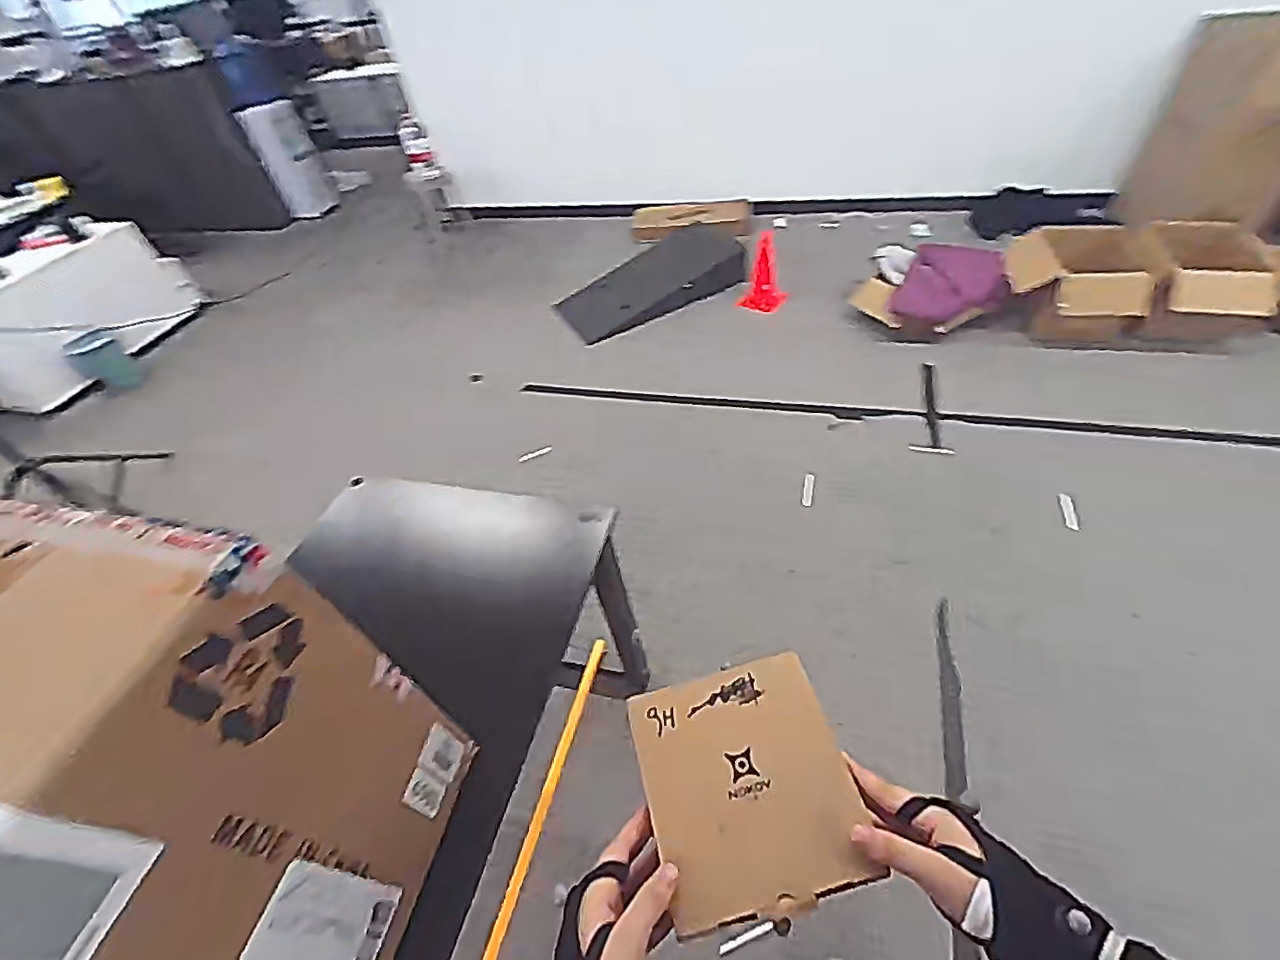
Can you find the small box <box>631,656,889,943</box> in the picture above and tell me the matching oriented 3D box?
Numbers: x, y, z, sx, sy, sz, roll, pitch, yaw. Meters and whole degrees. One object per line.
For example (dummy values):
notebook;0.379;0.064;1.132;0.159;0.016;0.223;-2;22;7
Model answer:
small box;0.099;0.293;0.504;0.168;0.176;0.179;-15;52;-2
